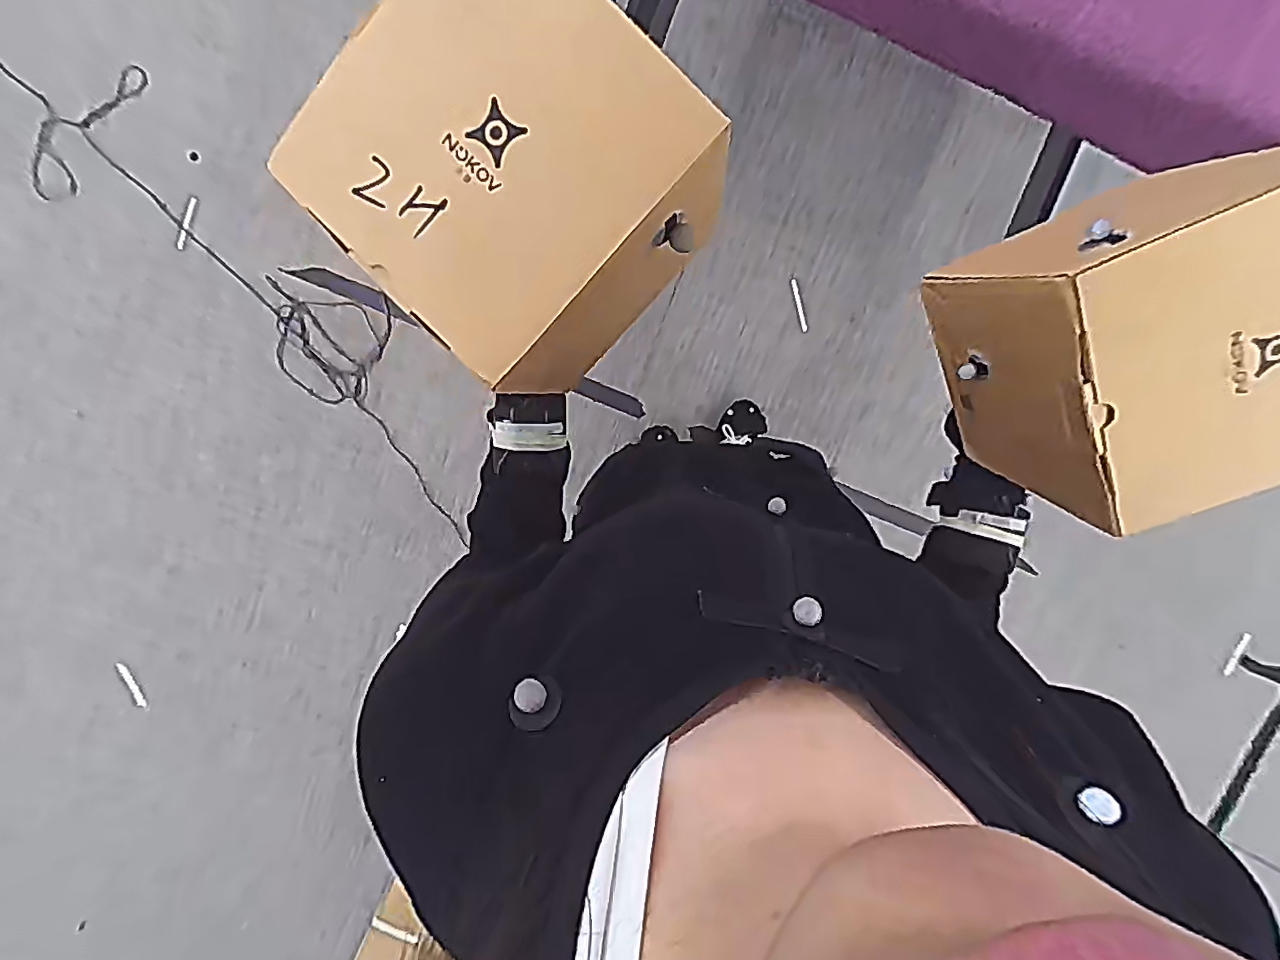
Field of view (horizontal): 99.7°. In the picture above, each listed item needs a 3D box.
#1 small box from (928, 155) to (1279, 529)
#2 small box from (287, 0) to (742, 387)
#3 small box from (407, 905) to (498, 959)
[{"bbox_3d":[0.336,-0.099,0.367,0.179,0.176,0.168,-23,108,10],"label":"small box"},{"bbox_3d":[-0.059,-0.178,0.345,0.168,0.176,0.179,45,102,-2],"label":"small box"},{"bbox_3d":[-0.455,1.151,1.258,0.179,0.176,0.168,29,96,-2],"label":"small box"}]
